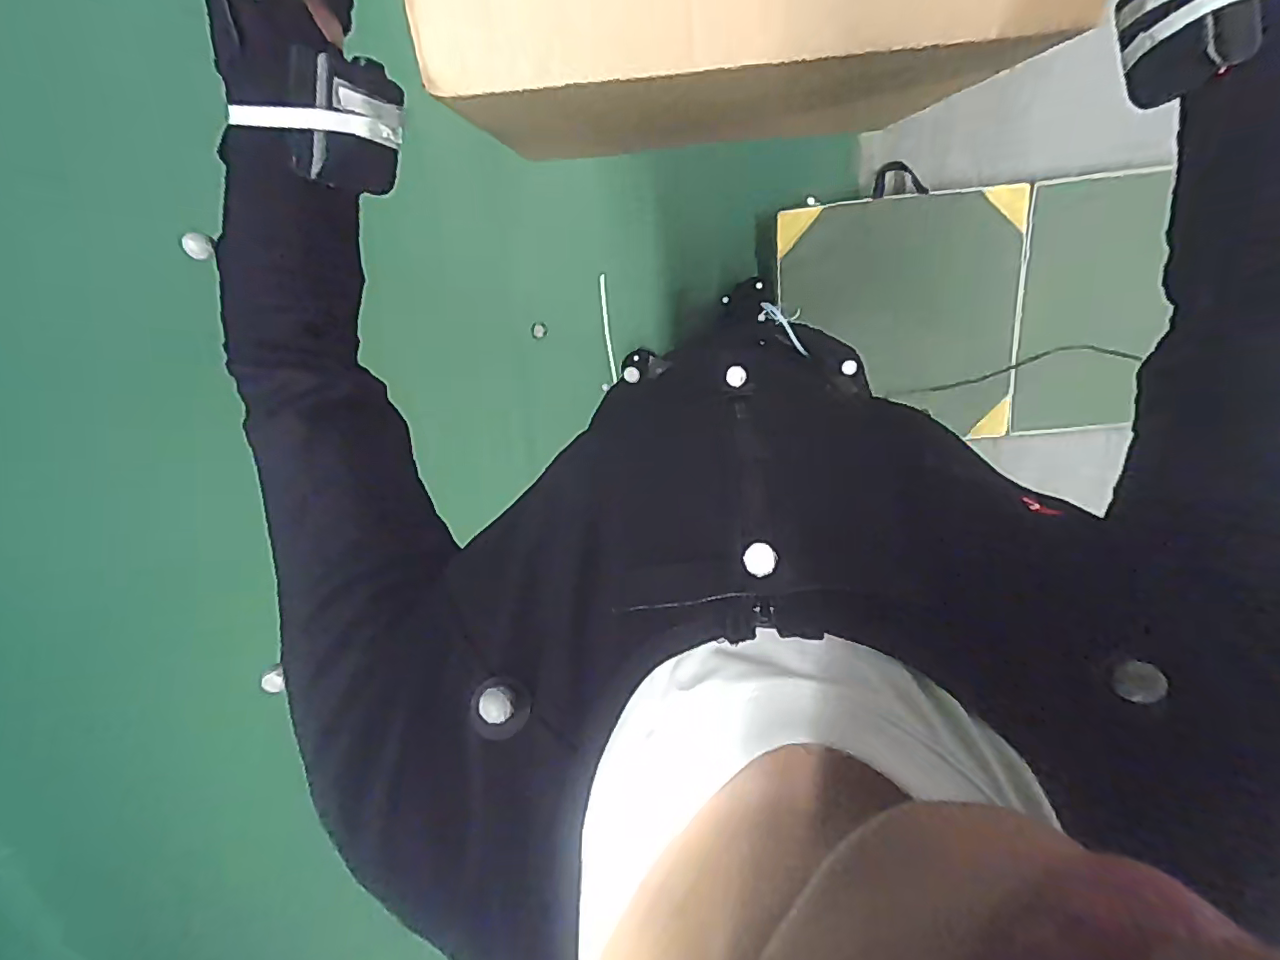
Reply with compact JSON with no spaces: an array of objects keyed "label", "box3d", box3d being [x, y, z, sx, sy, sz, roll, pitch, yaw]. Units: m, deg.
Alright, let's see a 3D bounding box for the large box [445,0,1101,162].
[{"label":"large box","box3d":[0.067,-0.460,0.414,0.408,0.320,0.320,-4,114,1]}]
